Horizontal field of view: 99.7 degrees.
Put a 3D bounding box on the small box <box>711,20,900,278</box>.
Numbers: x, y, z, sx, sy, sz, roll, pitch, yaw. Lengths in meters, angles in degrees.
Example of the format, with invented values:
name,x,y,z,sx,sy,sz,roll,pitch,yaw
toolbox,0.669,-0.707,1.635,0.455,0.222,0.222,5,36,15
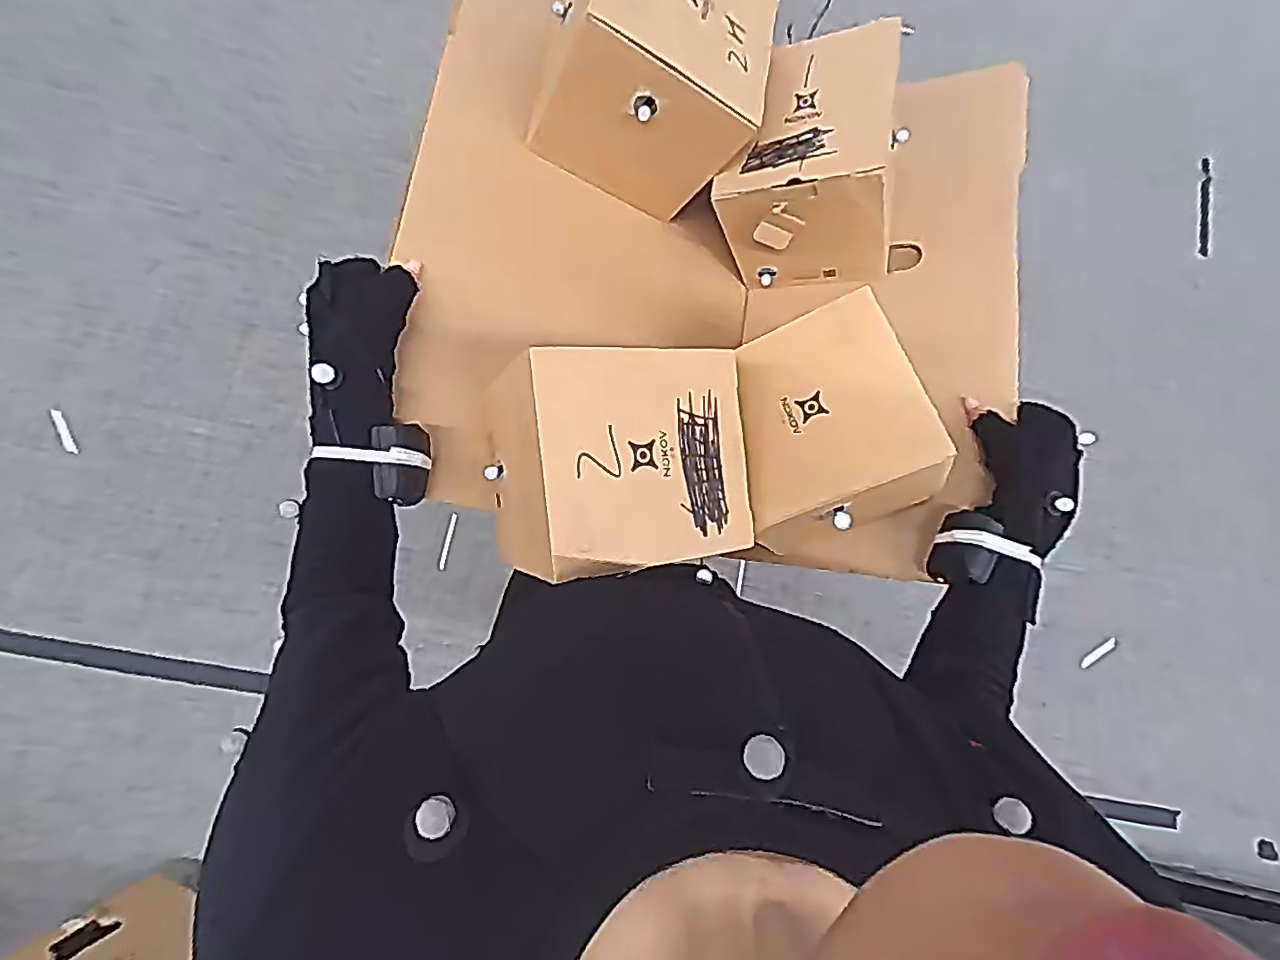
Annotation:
name,x,y,z,sx,sy,sz,roll,pitch,yaw
small box,0.193,-0.346,0.607,0.168,0.176,0.179,6,77,25
